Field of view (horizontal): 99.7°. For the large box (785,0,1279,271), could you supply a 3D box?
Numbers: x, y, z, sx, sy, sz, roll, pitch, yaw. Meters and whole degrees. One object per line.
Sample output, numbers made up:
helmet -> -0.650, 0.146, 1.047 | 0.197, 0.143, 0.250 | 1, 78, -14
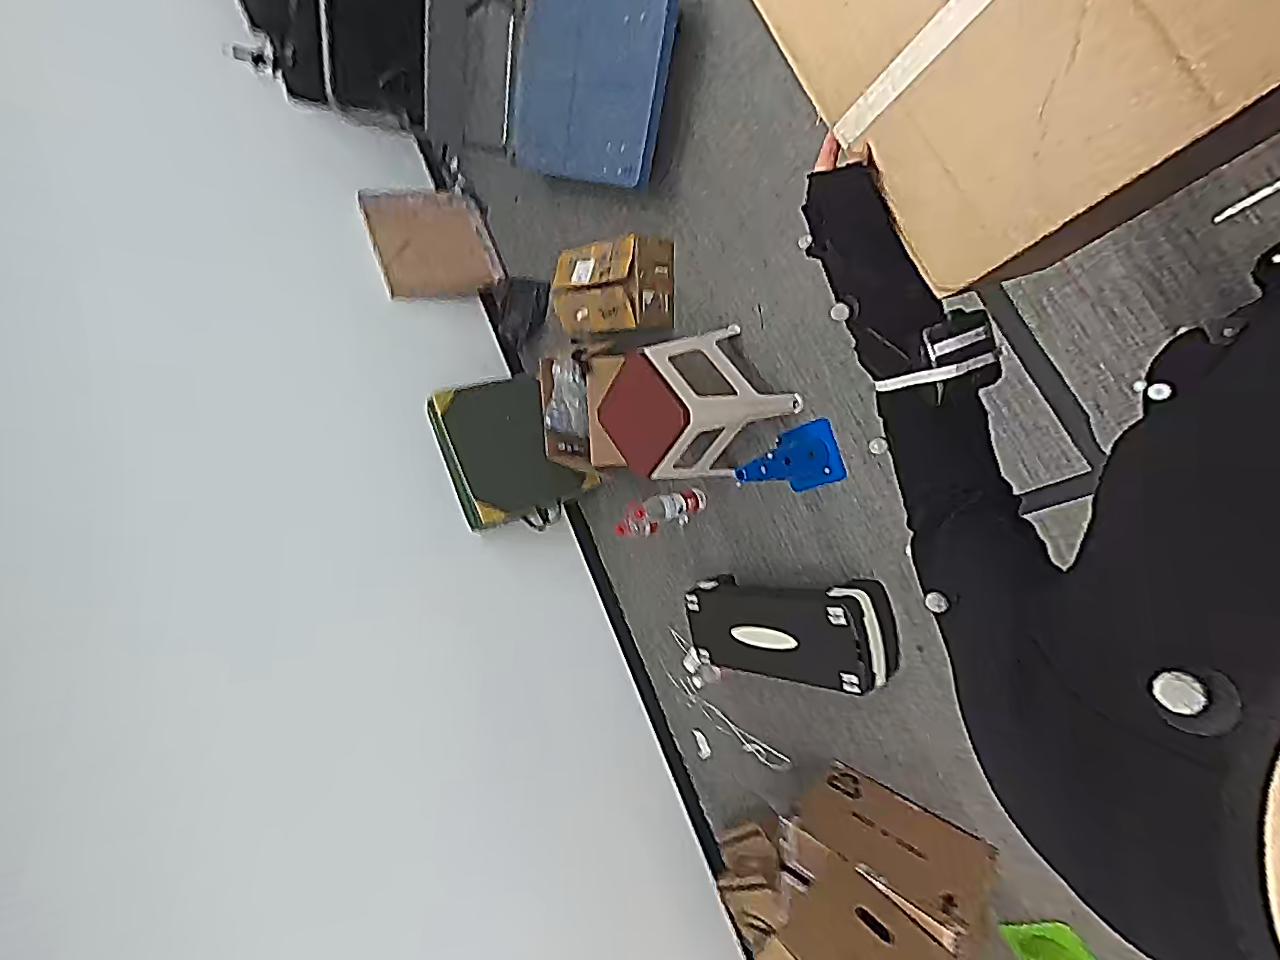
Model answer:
large box -> 0.383, -0.404, 0.375 | 0.408, 0.320, 0.320 | -33, 82, 51
